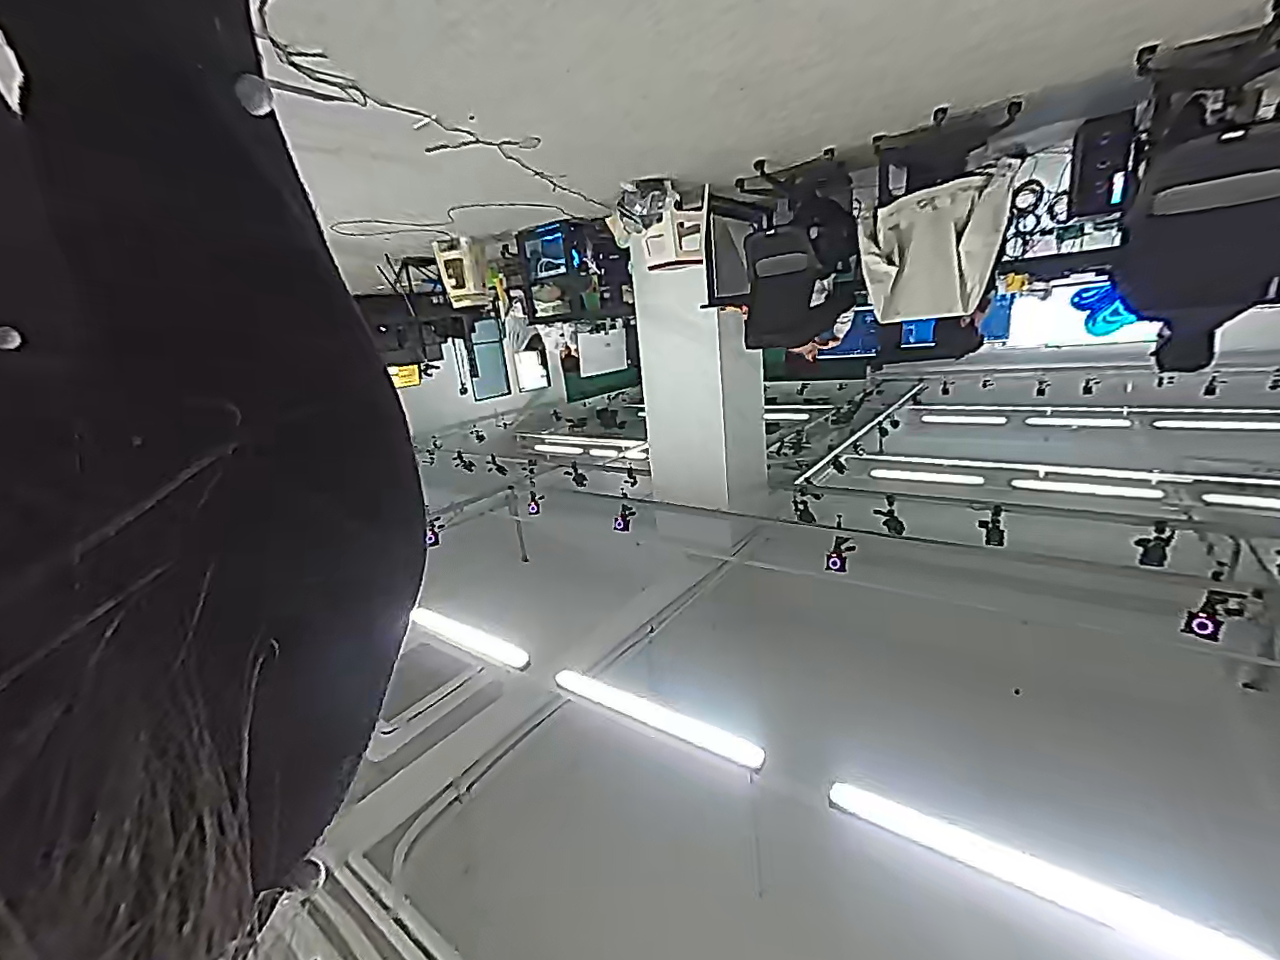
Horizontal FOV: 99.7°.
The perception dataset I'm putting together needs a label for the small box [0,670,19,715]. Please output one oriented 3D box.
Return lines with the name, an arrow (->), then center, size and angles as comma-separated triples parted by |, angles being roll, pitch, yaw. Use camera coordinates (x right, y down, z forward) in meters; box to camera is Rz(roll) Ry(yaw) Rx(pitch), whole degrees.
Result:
small box -> -2.185, 0.695, 1.746 | 0.168, 0.176, 0.179 | 7, -157, 32
